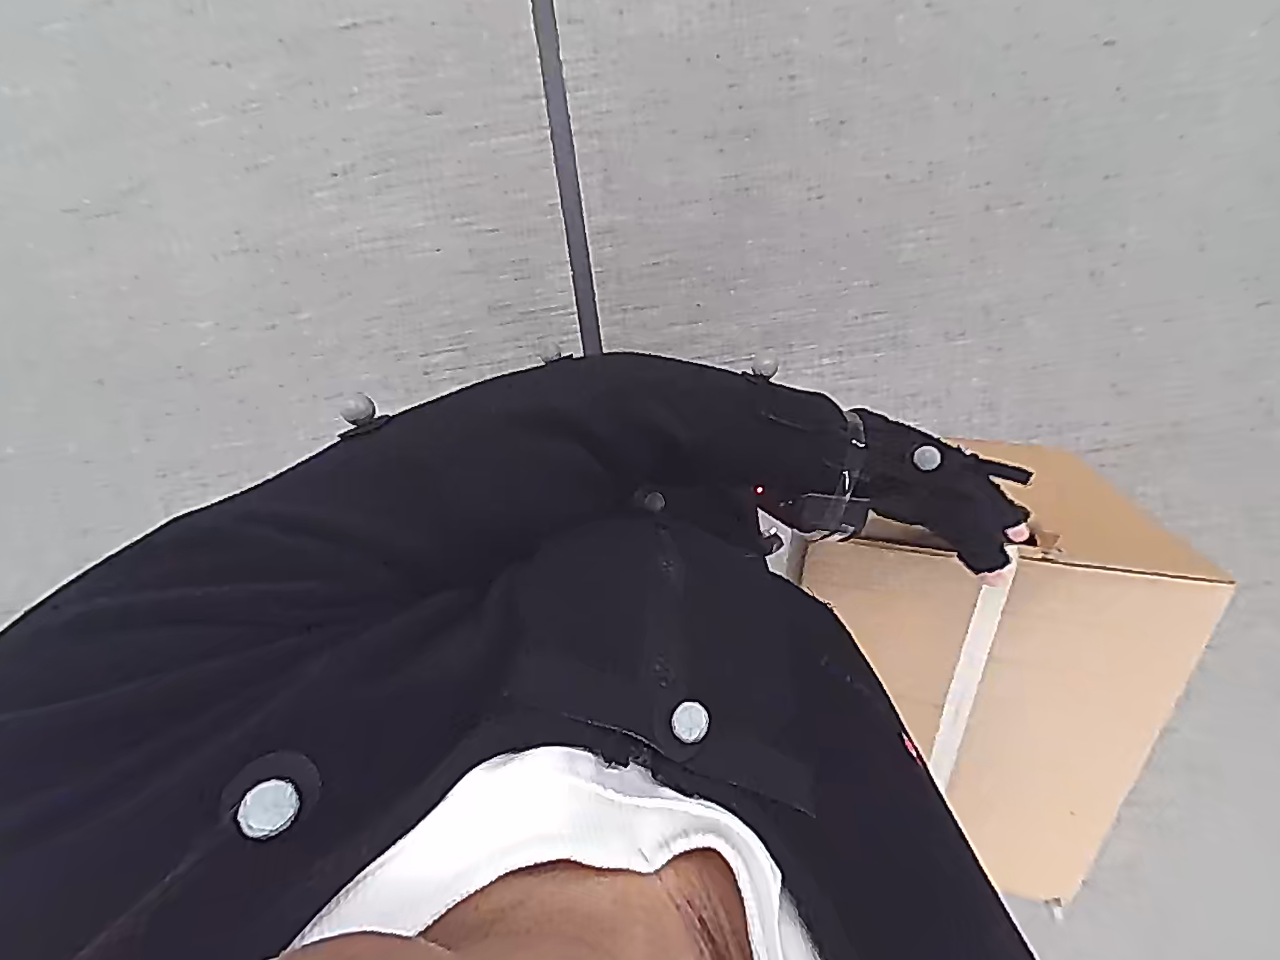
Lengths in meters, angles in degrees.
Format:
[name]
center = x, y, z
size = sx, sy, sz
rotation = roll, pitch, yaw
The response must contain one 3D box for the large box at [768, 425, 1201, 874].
[large box]
center = 0.336, 0.170, 0.667
size = 0.320, 0.320, 0.408
rotation = 7, 115, 14
